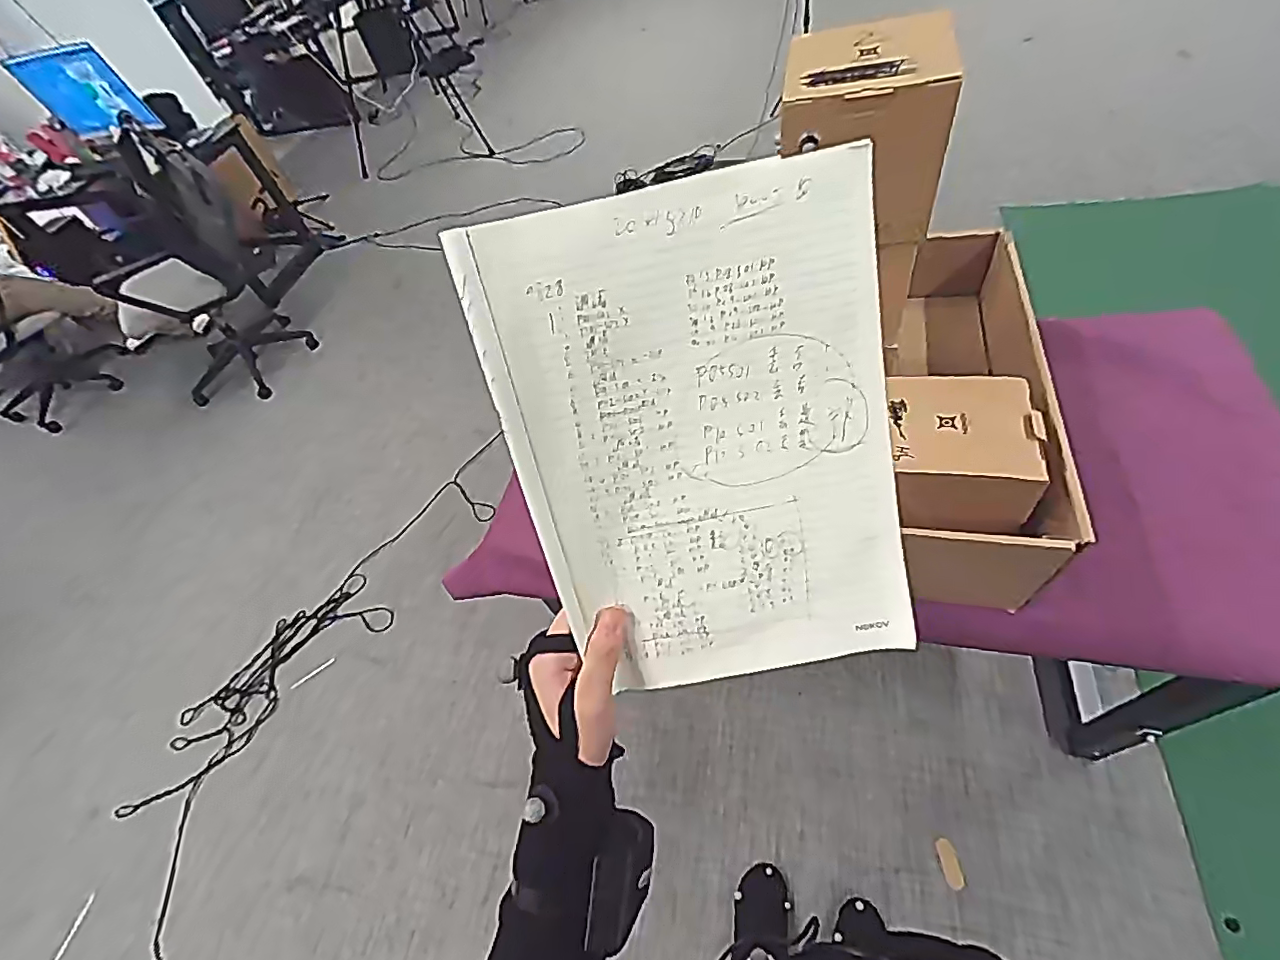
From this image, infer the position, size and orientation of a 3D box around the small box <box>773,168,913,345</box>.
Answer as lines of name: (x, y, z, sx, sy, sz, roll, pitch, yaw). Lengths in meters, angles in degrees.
small box: (0.285, -0.310, 0.772, 0.168, 0.176, 0.179, 5, 57, 18)
